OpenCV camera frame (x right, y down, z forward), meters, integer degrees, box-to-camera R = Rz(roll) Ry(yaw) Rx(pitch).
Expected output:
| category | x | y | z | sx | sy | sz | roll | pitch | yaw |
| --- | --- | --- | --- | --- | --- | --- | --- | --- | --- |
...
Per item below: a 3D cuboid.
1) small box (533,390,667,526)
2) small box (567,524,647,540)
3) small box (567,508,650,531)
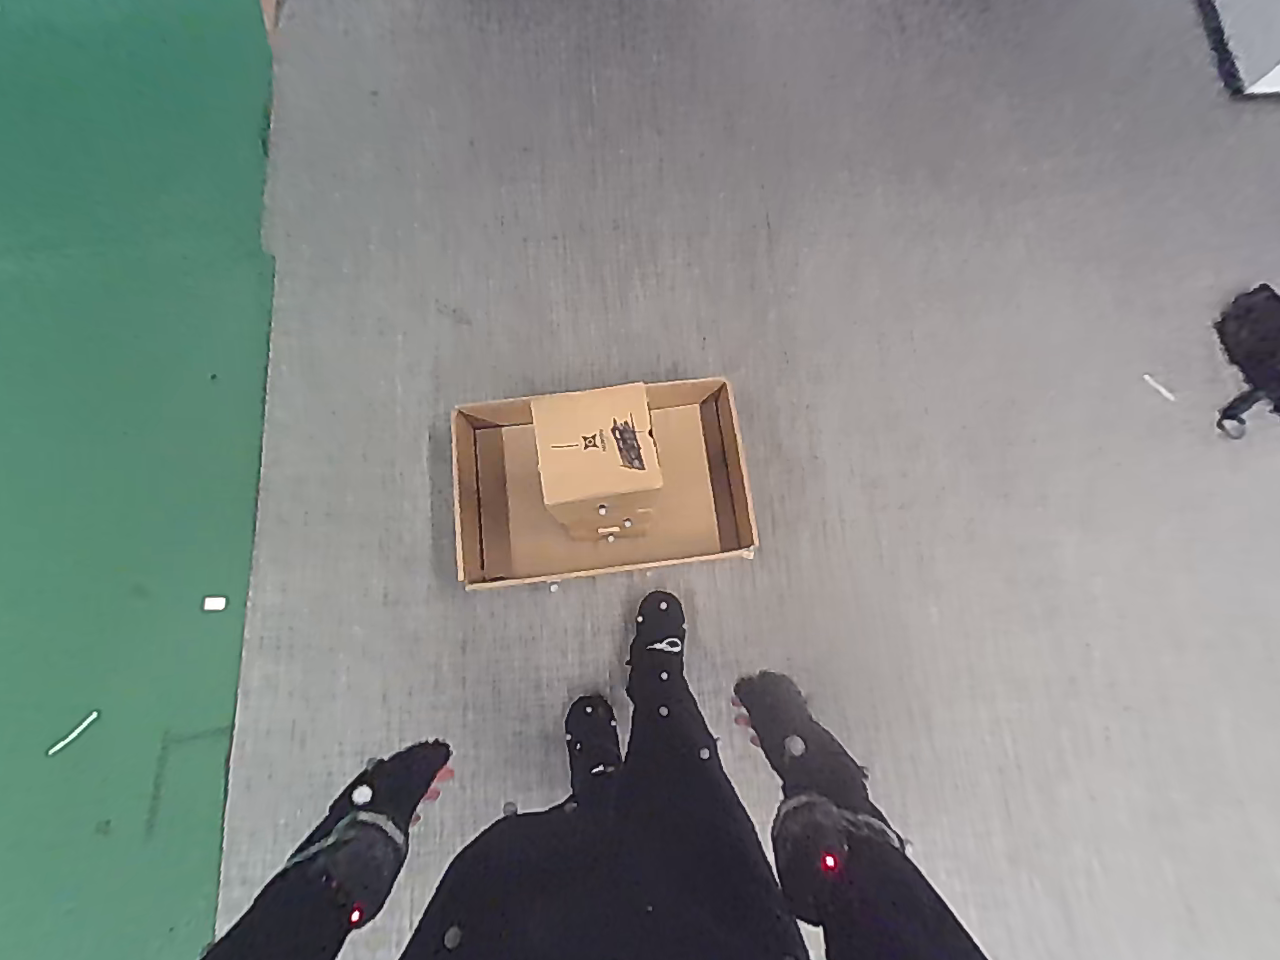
| category | x | y | z | sx | sy | sz | roll | pitch | yaw |
| --- | --- | --- | --- | --- | --- | --- | --- | --- | --- |
| small box | -0.065 | -0.028 | 0.876 | 0.179 | 0.176 | 0.168 | -12 | 78 | -5 |
| small box | -0.071 | 0.039 | 1.195 | 0.168 | 0.176 | 0.179 | -4 | 77 | -1 |
| small box | -0.069 | 0.001 | 1.038 | 0.168 | 0.176 | 0.179 | -5 | 76 | -2 |
